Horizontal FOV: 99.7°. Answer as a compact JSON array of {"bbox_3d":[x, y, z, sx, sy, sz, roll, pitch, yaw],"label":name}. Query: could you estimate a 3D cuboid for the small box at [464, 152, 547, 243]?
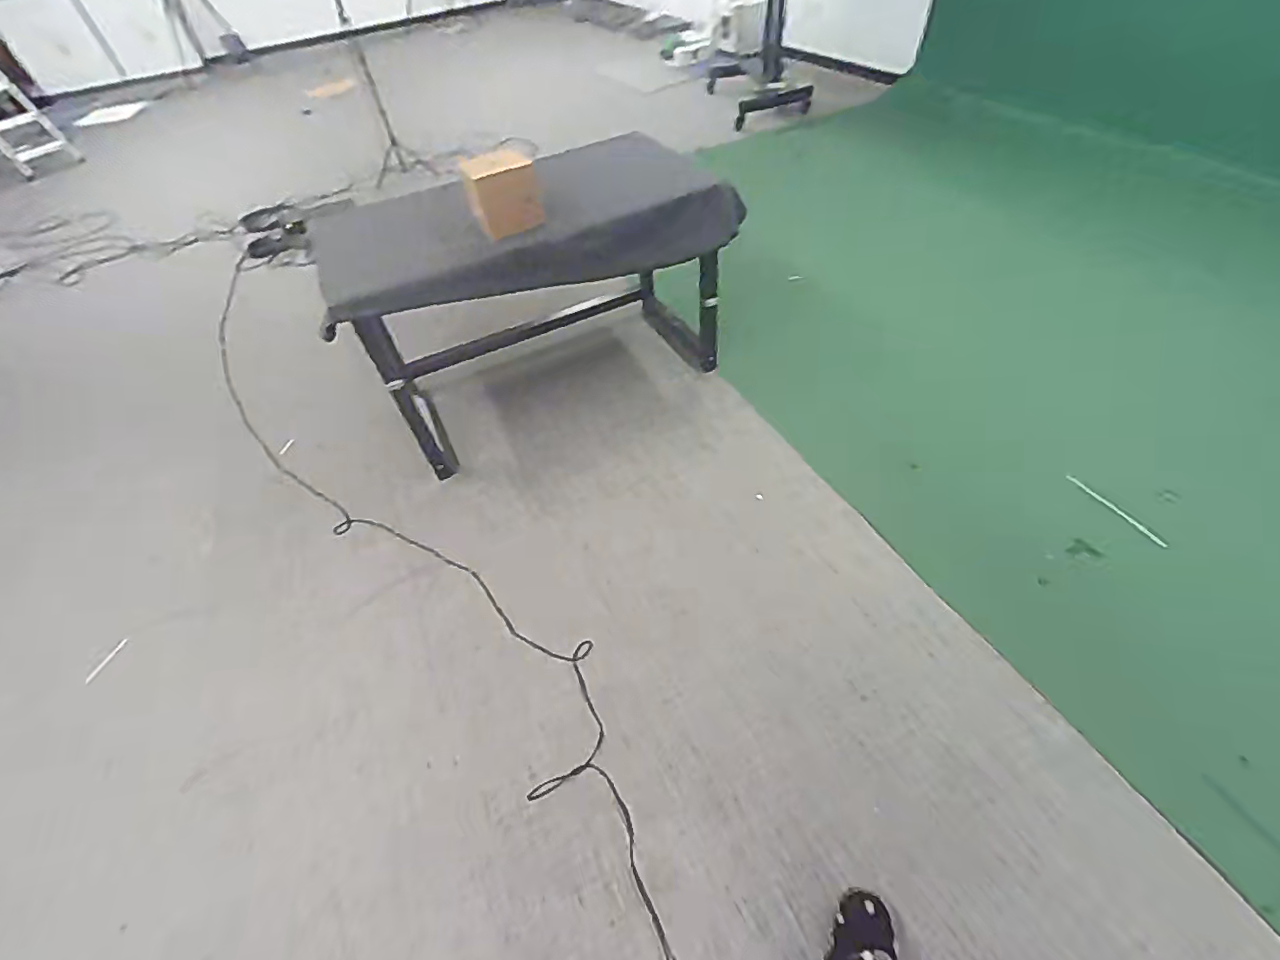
[{"bbox_3d":[-0.381,-0.816,1.564,0.179,0.176,0.168,-26,50,-14],"label":"small box"}]
